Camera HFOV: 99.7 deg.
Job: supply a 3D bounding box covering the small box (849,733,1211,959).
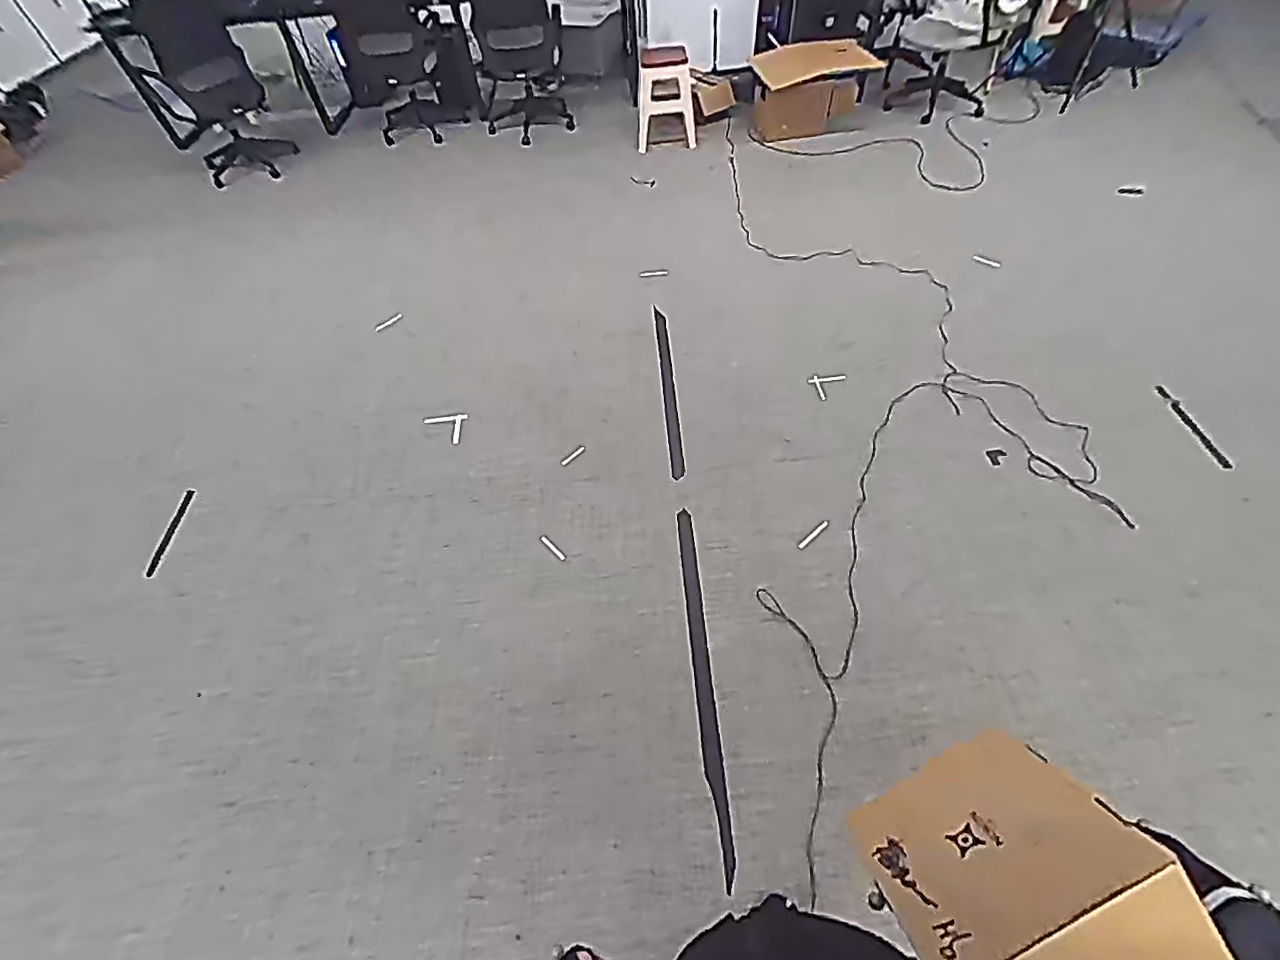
[{"bbox_3d":[0.316,0.360,0.447,0.179,0.168,0.176,-31,94,1],"label":"small box"}]
